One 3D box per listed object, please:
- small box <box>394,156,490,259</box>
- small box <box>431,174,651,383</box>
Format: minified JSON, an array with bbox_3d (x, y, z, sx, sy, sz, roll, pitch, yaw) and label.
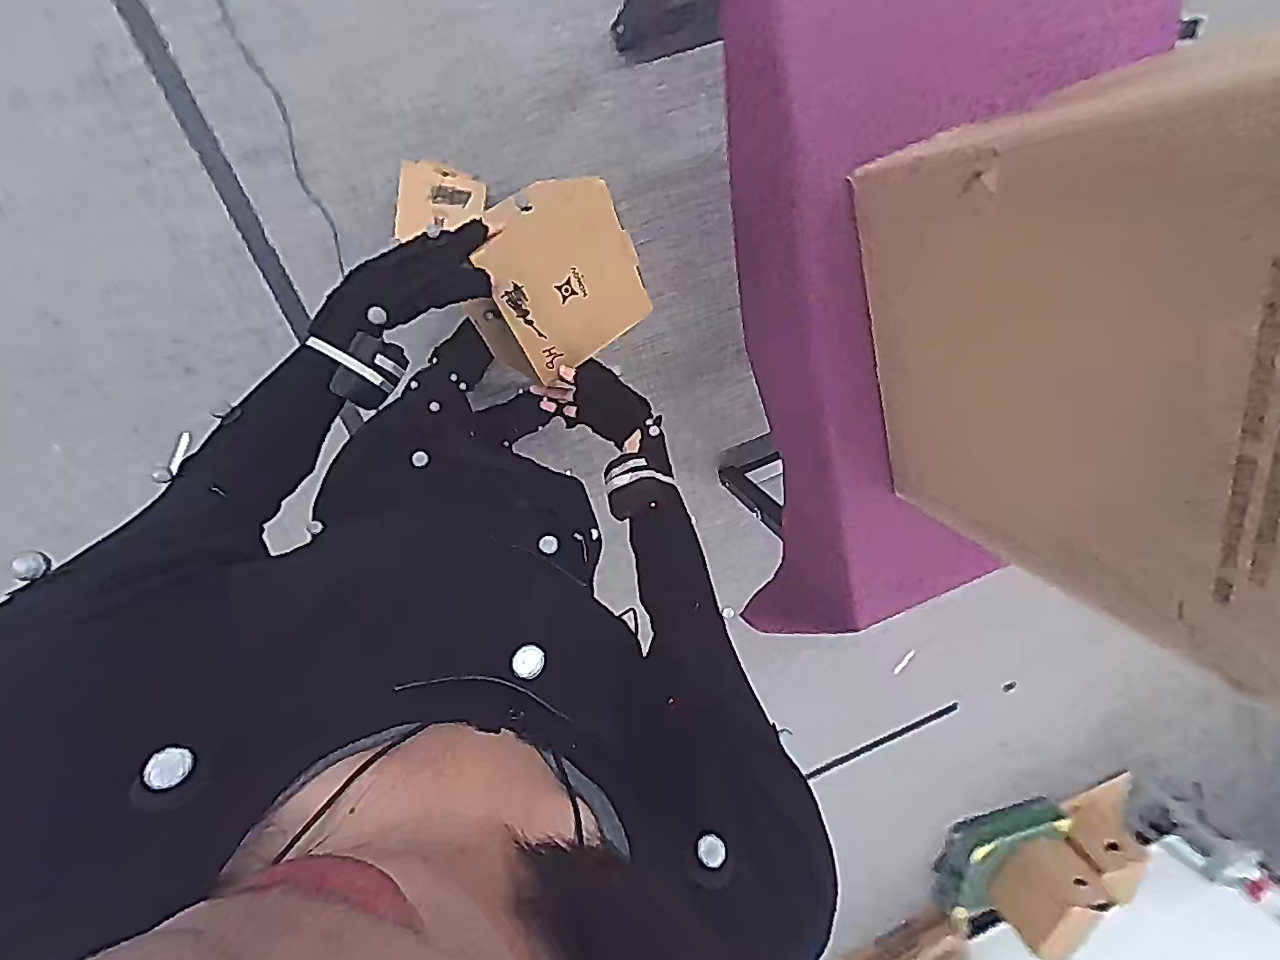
[{"bbox_3d":[-0.425,-0.567,1.170,0.168,0.176,0.179,9,110,-19],"label":"small box"},{"bbox_3d":[-0.123,-0.251,0.664,0.179,0.176,0.168,-40,130,-14],"label":"small box"}]
